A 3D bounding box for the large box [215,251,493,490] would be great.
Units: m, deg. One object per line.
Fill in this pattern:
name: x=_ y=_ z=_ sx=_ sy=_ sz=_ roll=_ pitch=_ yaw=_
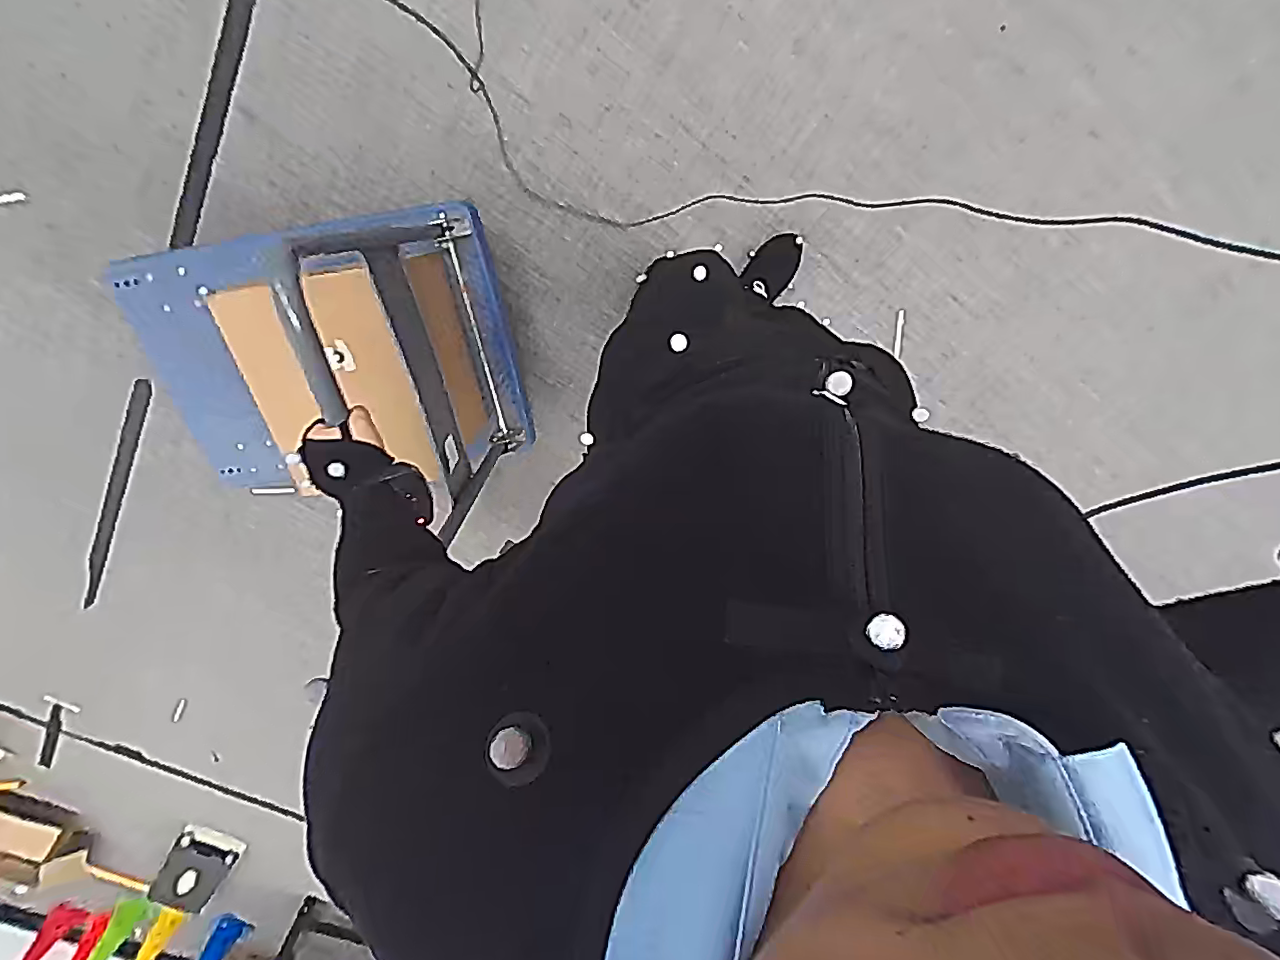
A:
large box: x=-0.548 y=-0.235 z=1.136 sx=0.320 sy=0.320 sz=0.408 roll=-7 pitch=116 yaw=6
